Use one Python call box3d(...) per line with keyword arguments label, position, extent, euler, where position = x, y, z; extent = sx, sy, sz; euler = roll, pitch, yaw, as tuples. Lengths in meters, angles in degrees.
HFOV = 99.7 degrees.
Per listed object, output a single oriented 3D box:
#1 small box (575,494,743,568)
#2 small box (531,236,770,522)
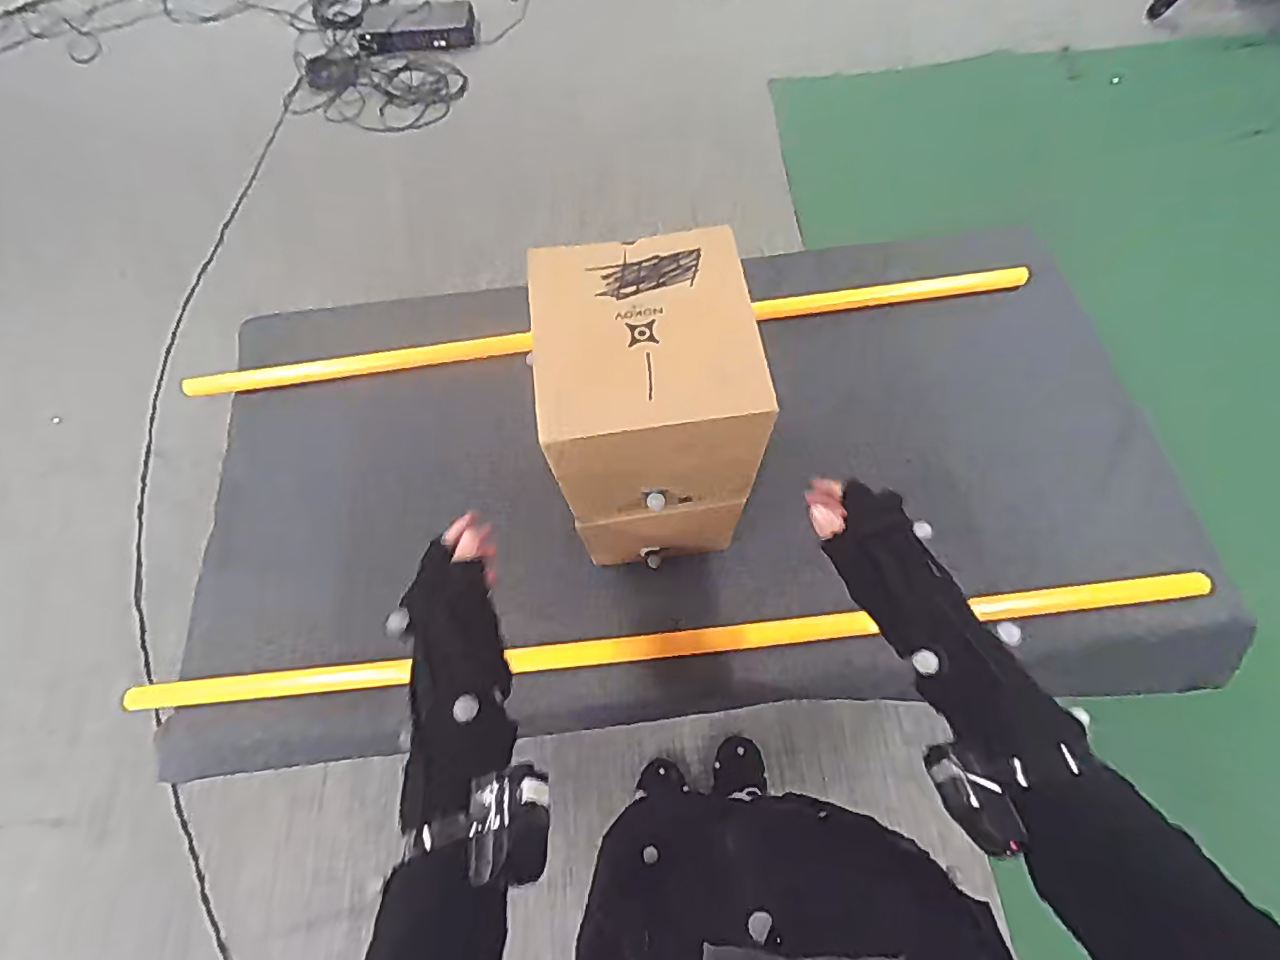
box3d(label="small box", position=(0.012, -0.011, 0.629), extent=(0.168, 0.176, 0.179), euler=(-9, 67, 0))
box3d(label="small box", position=(0.004, -0.079, 0.479), extent=(0.168, 0.176, 0.179), euler=(-8, 67, 1))
